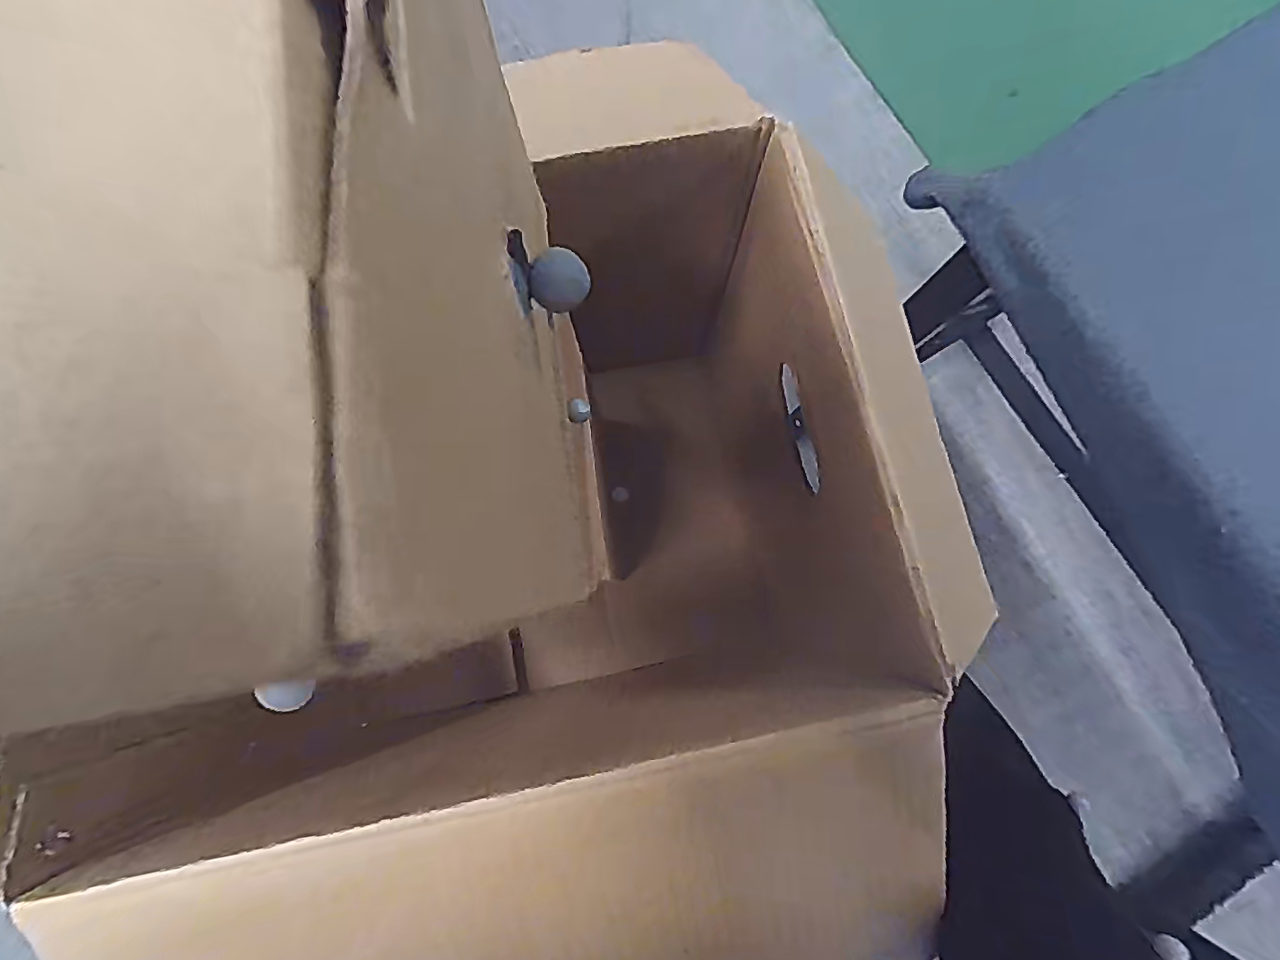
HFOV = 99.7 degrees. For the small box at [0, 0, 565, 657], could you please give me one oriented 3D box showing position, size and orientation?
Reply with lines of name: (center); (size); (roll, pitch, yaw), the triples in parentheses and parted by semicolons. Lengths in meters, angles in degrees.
small box: (-0.116, -0.047, 0.131); (0.179, 0.176, 0.168); (-8, 80, -2)
